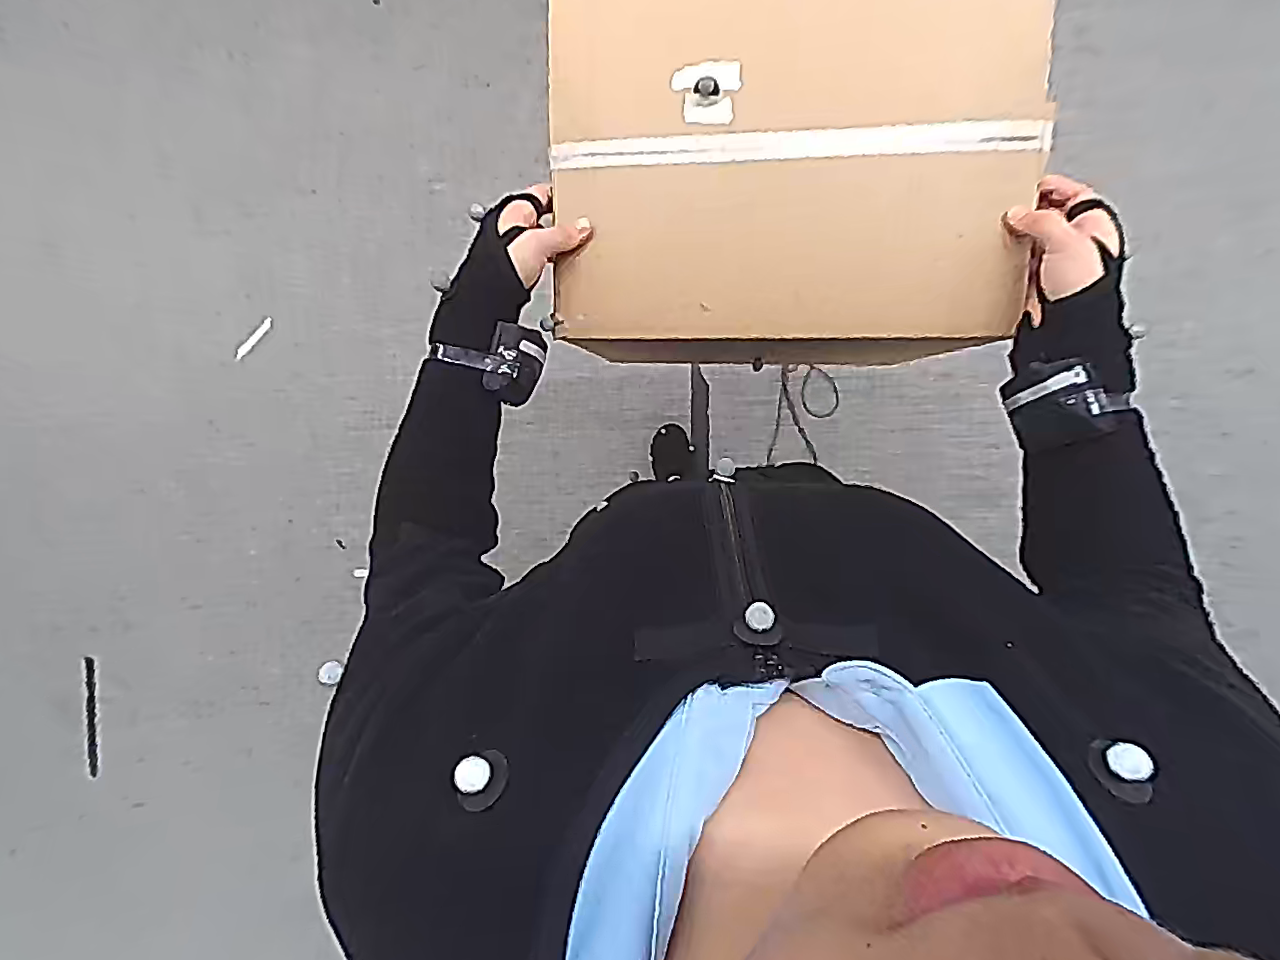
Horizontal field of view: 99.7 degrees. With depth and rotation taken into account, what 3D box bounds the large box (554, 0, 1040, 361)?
[{"bbox_3d":[0.144,-0.307,0.612,0.408,0.320,0.320,1,96,8],"label":"large box"}]
